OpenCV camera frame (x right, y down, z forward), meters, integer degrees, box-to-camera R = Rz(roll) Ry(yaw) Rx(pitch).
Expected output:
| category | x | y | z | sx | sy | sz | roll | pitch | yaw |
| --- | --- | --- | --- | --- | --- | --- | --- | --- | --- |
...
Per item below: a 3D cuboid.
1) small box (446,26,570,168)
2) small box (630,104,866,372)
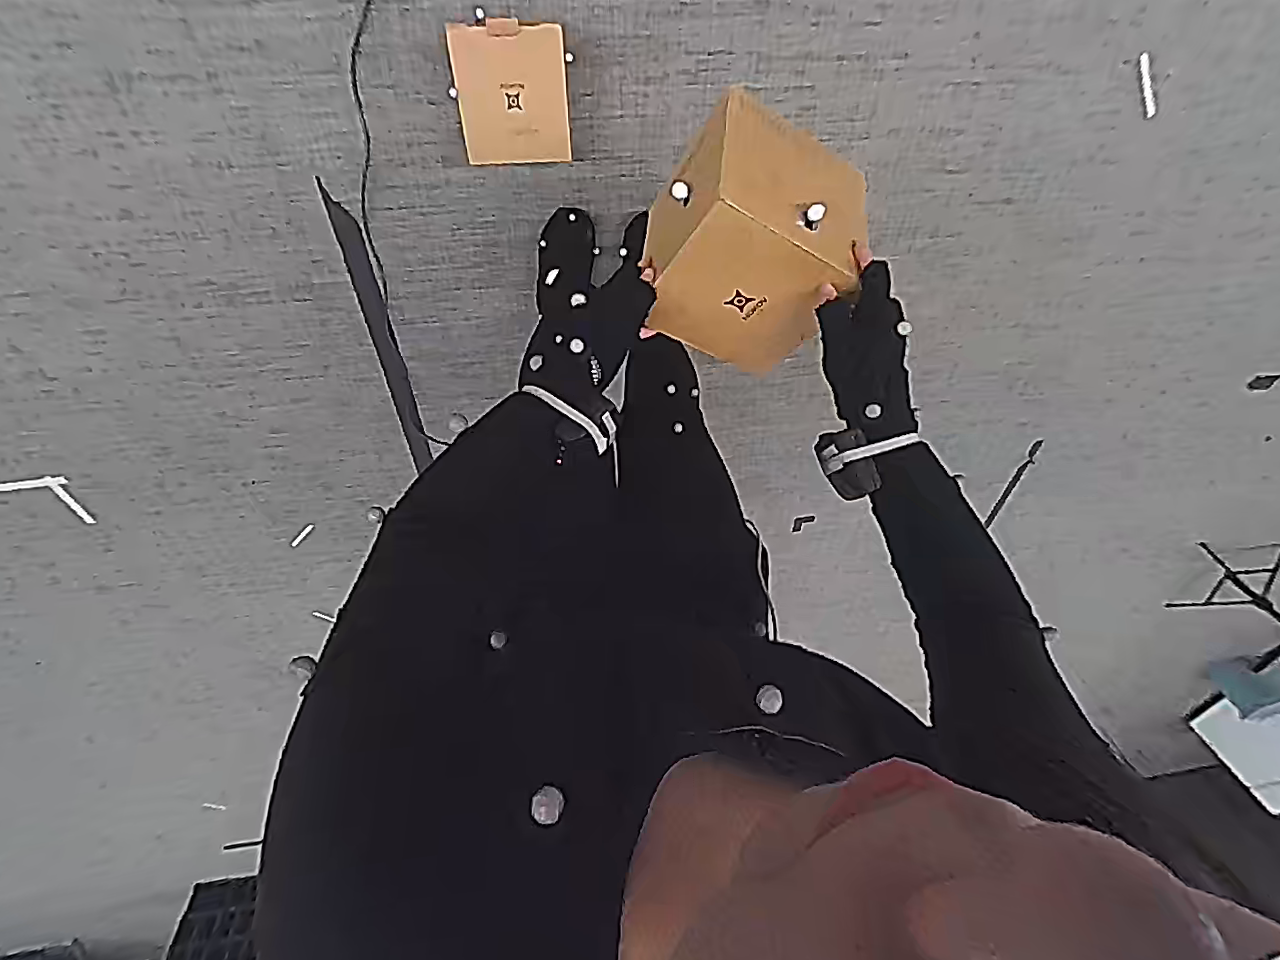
| category | x | y | z | sx | sy | sz | roll | pitch | yaw |
| --- | --- | --- | --- | --- | --- | --- | --- | --- | --- |
| small box | -0.206 | -0.623 | 0.878 | 0.168 | 0.176 | 0.179 | -5 | 132 | -6 |
| small box | 0.109 | -0.253 | 0.577 | 0.179 | 0.176 | 0.168 | 18 | 151 | -22 |
